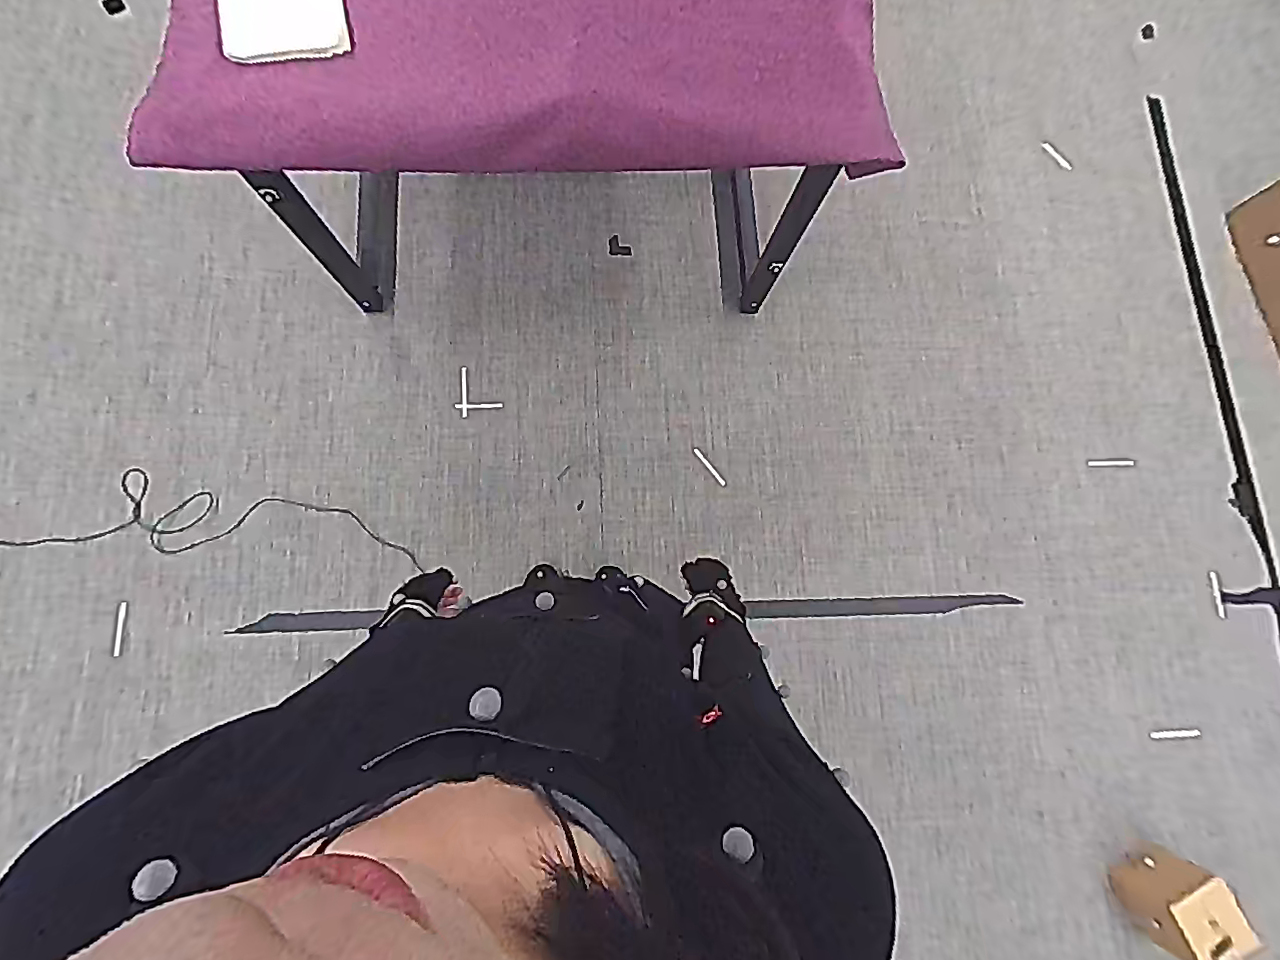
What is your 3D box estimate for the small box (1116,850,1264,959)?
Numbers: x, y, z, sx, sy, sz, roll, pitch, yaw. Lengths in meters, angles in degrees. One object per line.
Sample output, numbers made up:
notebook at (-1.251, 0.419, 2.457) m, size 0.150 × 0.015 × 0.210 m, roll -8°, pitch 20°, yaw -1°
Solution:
small box at (1.402, 1.110, 1.391) m, size 0.168 × 0.176 × 0.179 m, roll -24°, pitch 81°, yaw -8°
